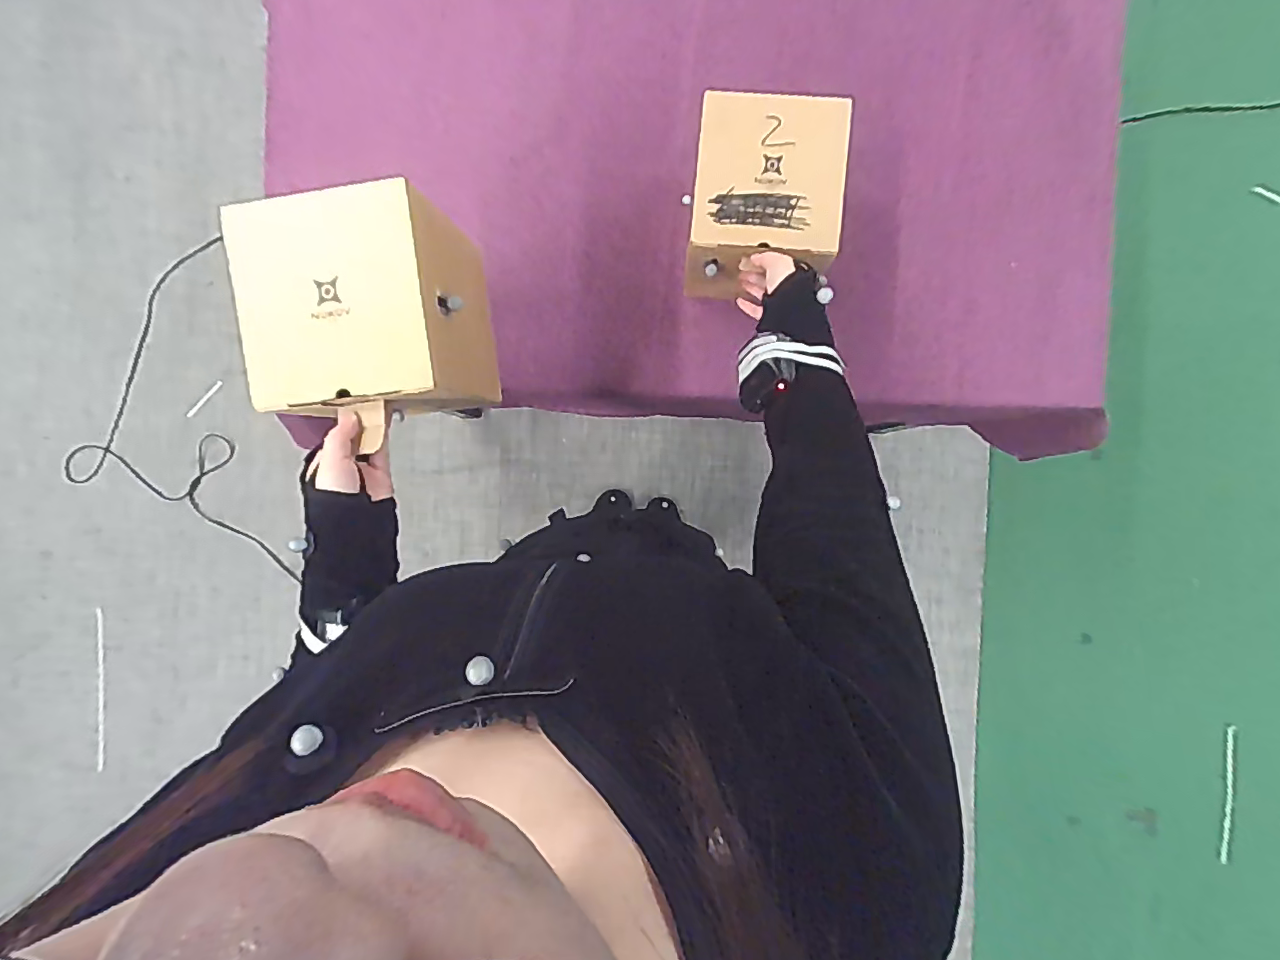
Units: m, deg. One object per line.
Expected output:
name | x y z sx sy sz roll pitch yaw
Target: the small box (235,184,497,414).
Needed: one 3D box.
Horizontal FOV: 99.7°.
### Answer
small box | -0.258 -0.165 0.550 0.168 0.176 0.179 -6 95 4
